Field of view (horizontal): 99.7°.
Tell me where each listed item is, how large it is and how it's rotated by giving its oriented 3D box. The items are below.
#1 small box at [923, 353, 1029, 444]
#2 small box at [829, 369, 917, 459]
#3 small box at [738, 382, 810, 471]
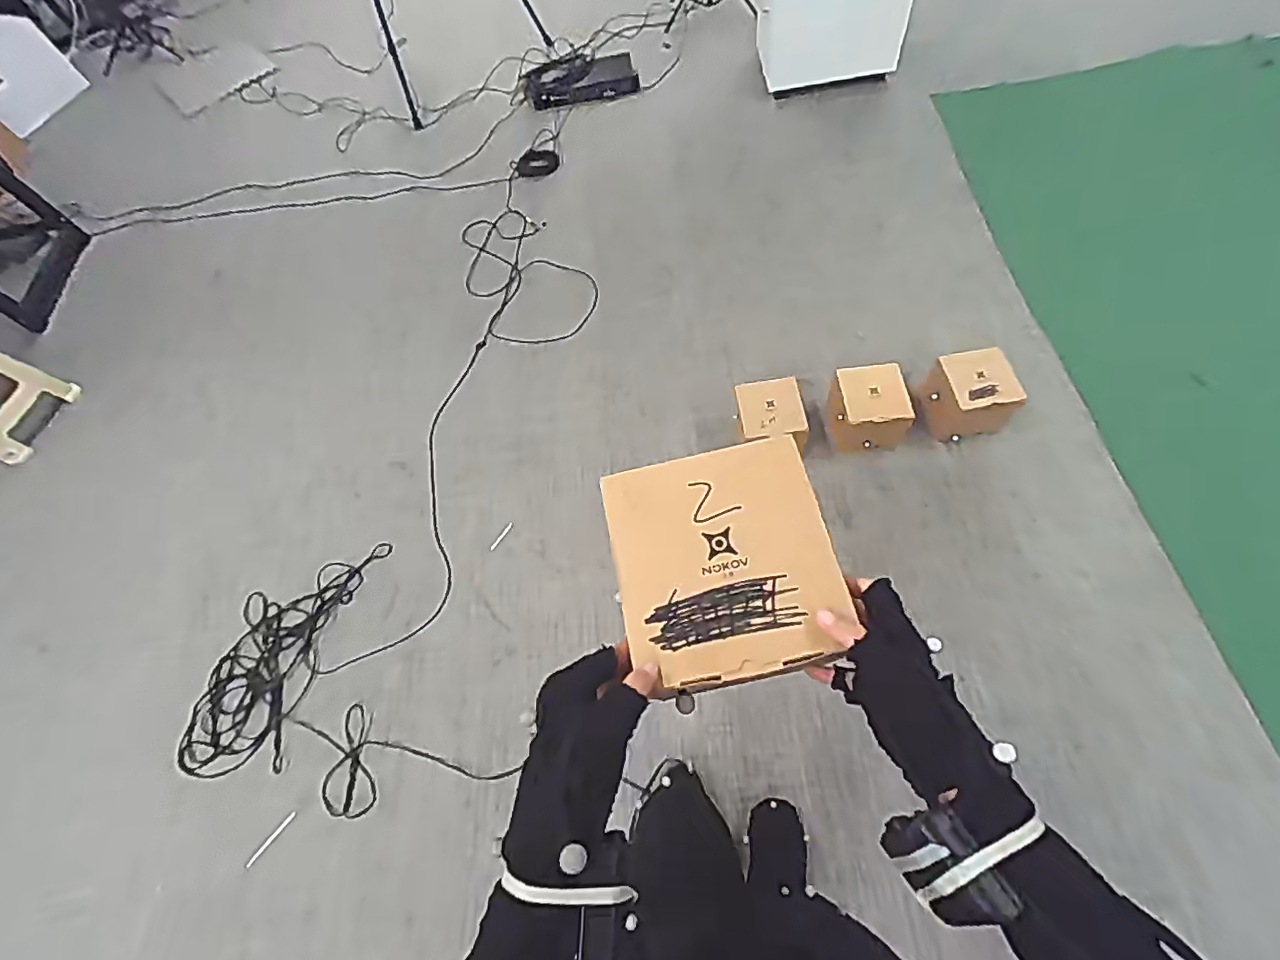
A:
[{"bbox_3d":[0.897,-0.212,1.462,0.168,0.176,0.179,-9,62,4],"label":"small box"},{"bbox_3d":[0.631,-0.179,1.488,0.168,0.176,0.179,-6,63,6],"label":"small box"},{"bbox_3d":[0.366,-0.146,1.510,0.168,0.176,0.179,-8,63,6],"label":"small box"}]
